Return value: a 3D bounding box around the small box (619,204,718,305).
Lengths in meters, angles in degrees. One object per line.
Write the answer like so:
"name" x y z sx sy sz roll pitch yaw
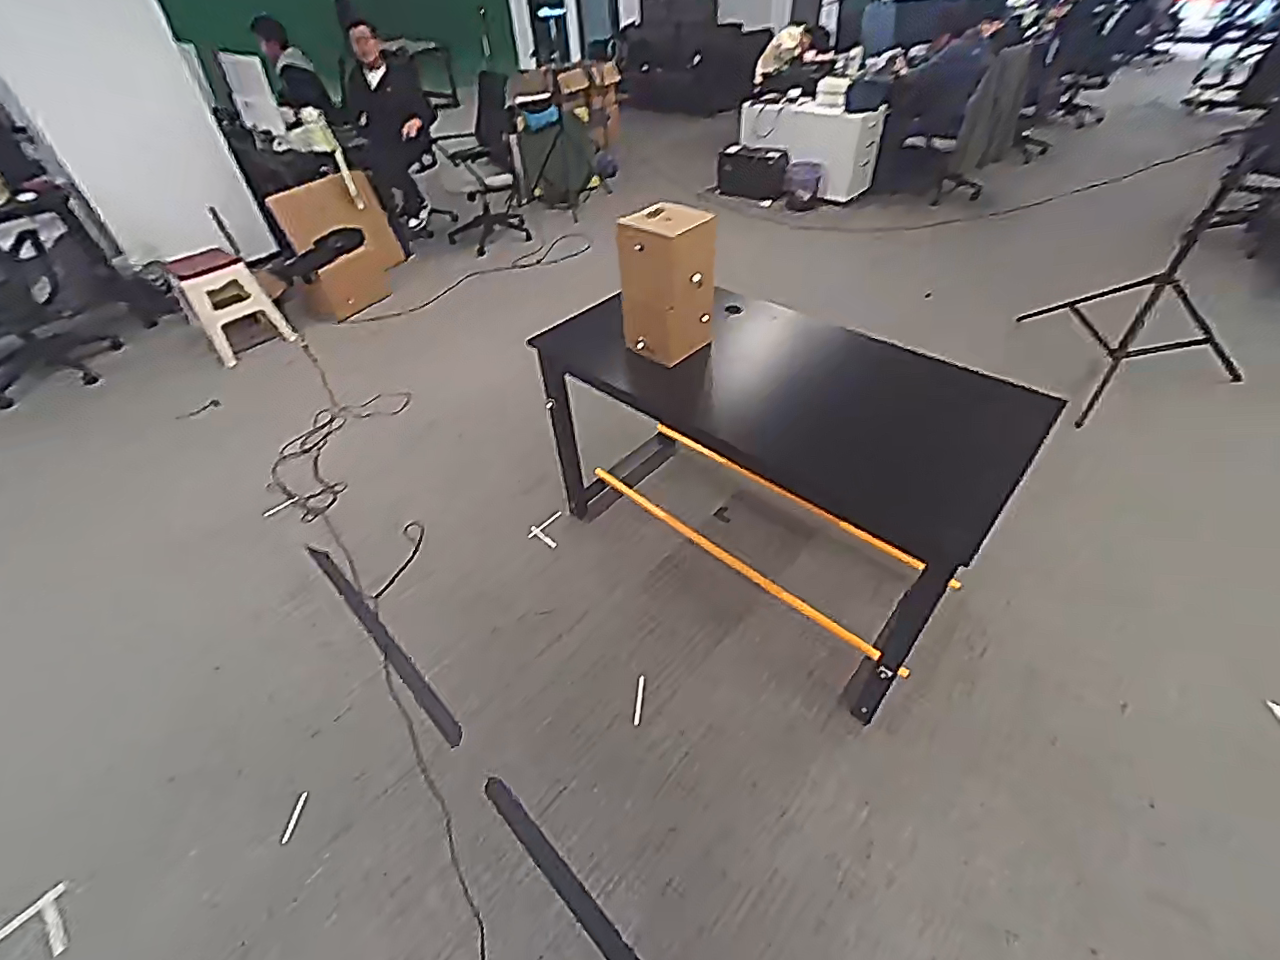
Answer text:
"small box" 0.069 -0.546 1.311 0.179 0.176 0.168 31 54 31

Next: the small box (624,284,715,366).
"small box" 0.078 -0.428 1.426 0.168 0.176 0.179 31 55 32
